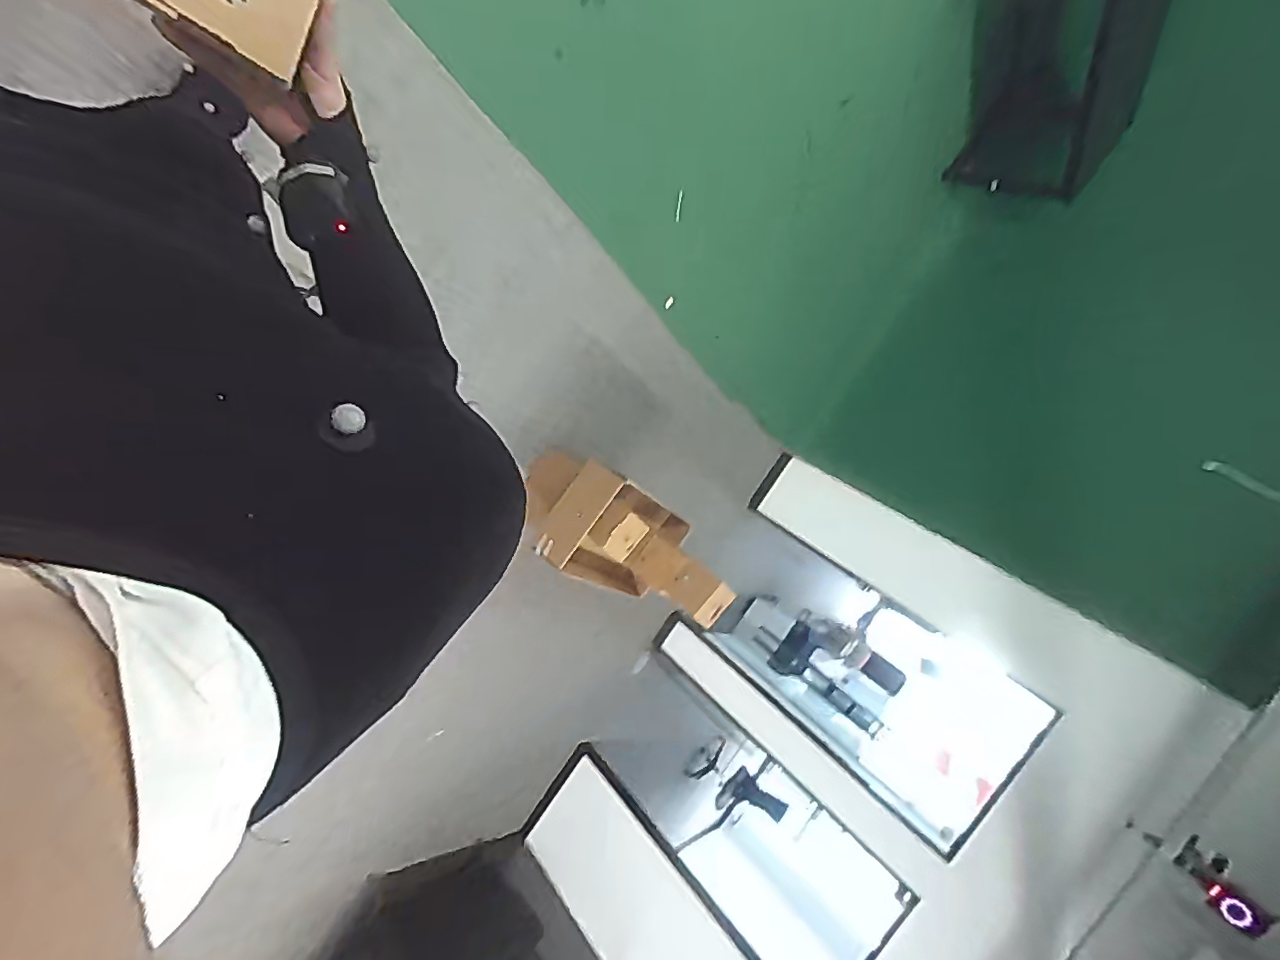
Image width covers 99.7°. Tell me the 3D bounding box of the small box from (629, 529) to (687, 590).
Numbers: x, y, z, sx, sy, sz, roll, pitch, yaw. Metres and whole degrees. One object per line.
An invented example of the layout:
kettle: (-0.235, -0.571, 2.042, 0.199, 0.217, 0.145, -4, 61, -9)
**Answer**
small box: (0.090, 0.310, 2.092, 0.168, 0.176, 0.179, -55, 144, 2)

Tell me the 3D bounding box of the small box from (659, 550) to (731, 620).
small box: (0.203, 0.387, 2.001, 0.168, 0.176, 0.179, -49, 143, -6)

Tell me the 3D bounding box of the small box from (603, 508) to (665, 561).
small box: (-0.015, 0.233, 2.188, 0.168, 0.176, 0.179, -55, 144, 1)
